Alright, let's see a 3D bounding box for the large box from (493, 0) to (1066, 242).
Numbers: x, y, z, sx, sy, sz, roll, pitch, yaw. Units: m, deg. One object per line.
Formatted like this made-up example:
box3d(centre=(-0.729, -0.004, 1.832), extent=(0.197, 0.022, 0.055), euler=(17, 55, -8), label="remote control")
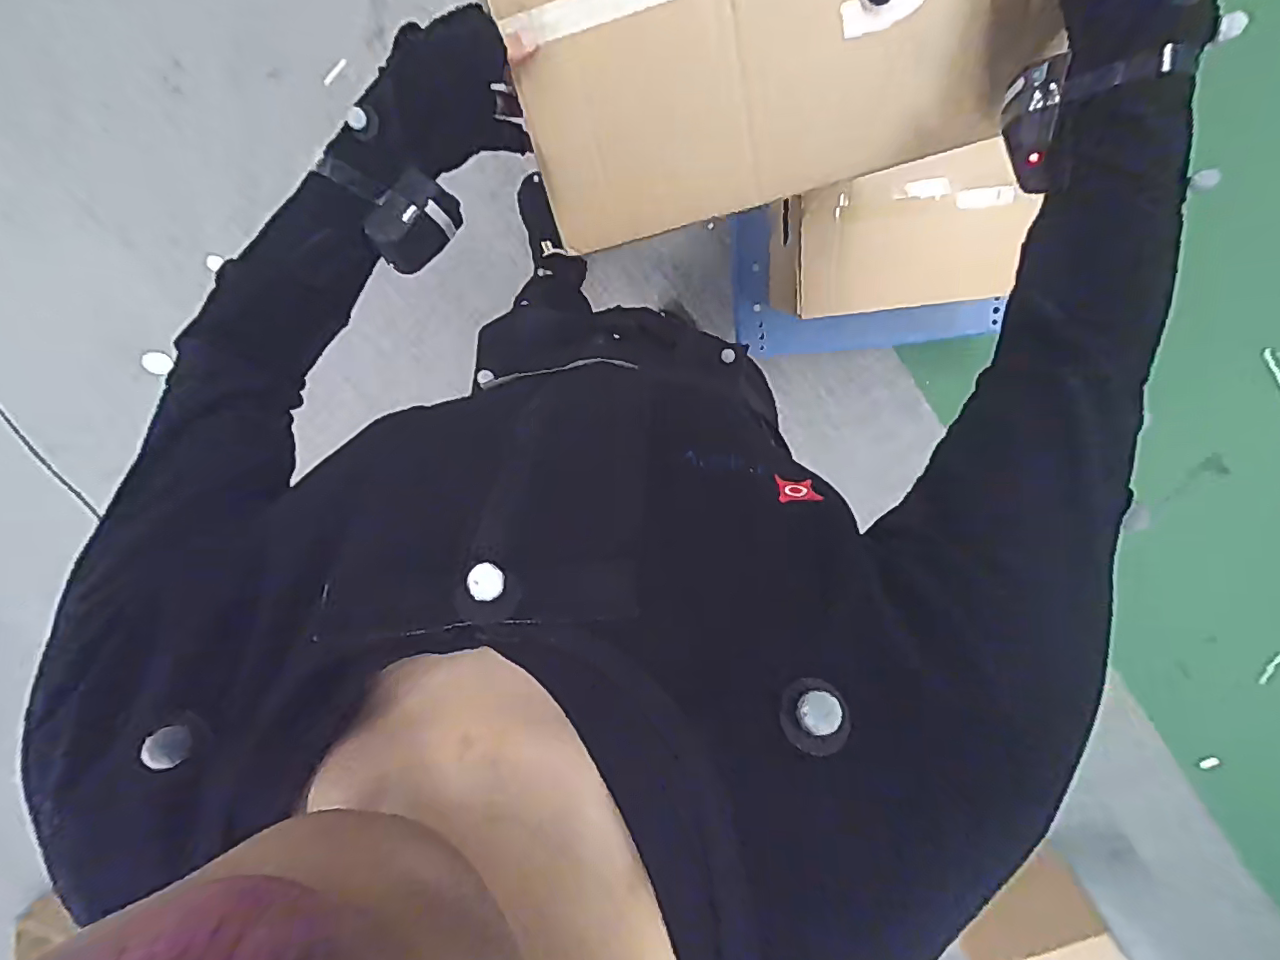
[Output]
box3d(centre=(0.089, -0.441, 0.505), extent=(0.408, 0.320, 0.320), euler=(-13, 116, 7), label="large box")
